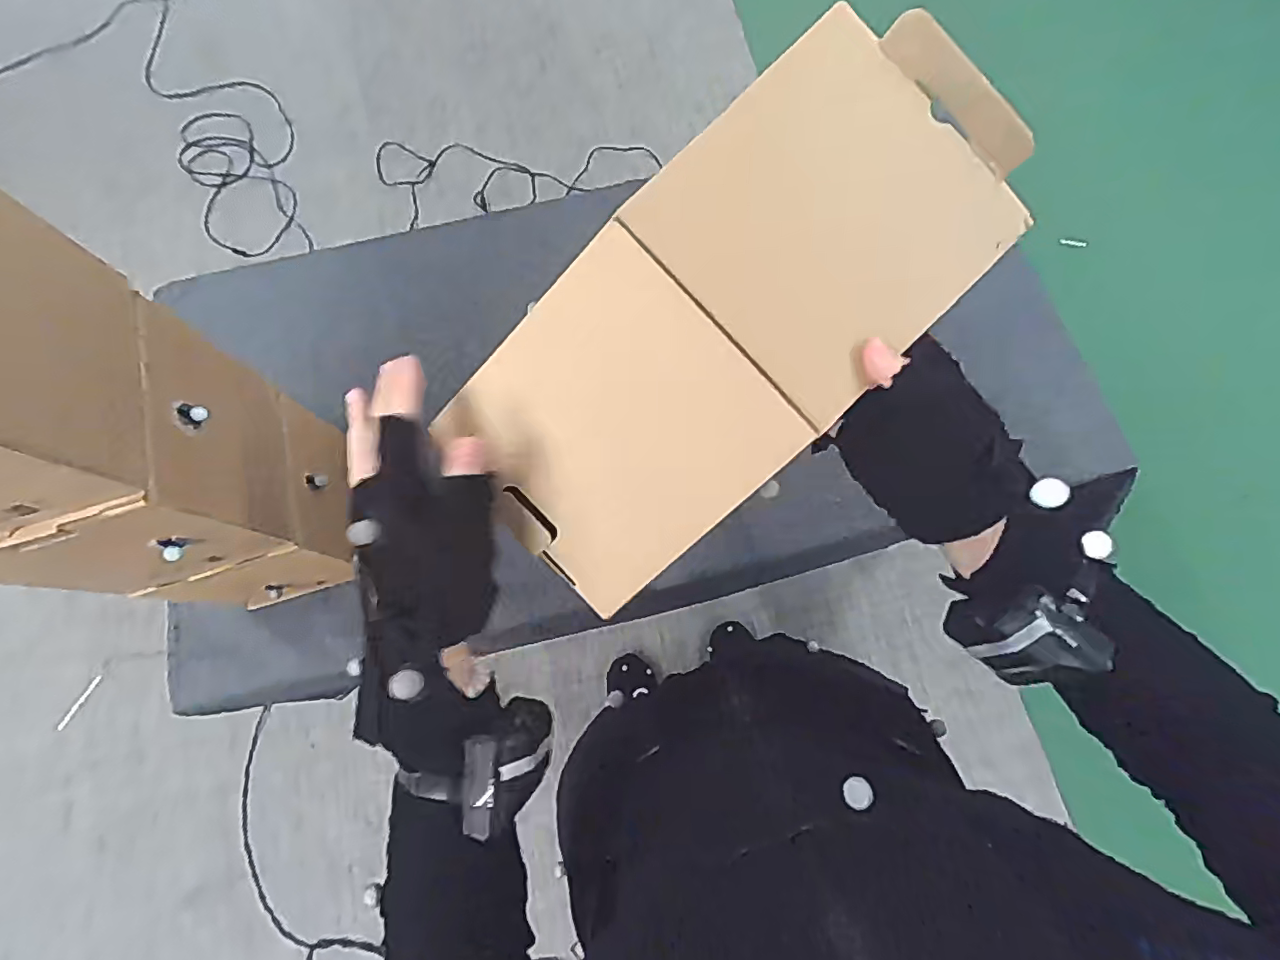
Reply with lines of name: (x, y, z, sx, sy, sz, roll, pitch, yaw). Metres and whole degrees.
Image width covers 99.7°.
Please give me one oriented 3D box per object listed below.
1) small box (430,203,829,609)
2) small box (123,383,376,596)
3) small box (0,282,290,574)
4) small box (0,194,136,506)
small box: (-0.001, -0.050, 0.385, 0.179, 0.176, 0.168, -43, 93, 15)
small box: (-0.425, 0.021, 0.609, 0.168, 0.176, 0.179, -16, 75, -4)
small box: (-0.427, -0.026, 0.453, 0.168, 0.176, 0.179, -16, 74, -4)
small box: (-0.432, -0.078, 0.298, 0.168, 0.176, 0.179, -17, 74, -5)
